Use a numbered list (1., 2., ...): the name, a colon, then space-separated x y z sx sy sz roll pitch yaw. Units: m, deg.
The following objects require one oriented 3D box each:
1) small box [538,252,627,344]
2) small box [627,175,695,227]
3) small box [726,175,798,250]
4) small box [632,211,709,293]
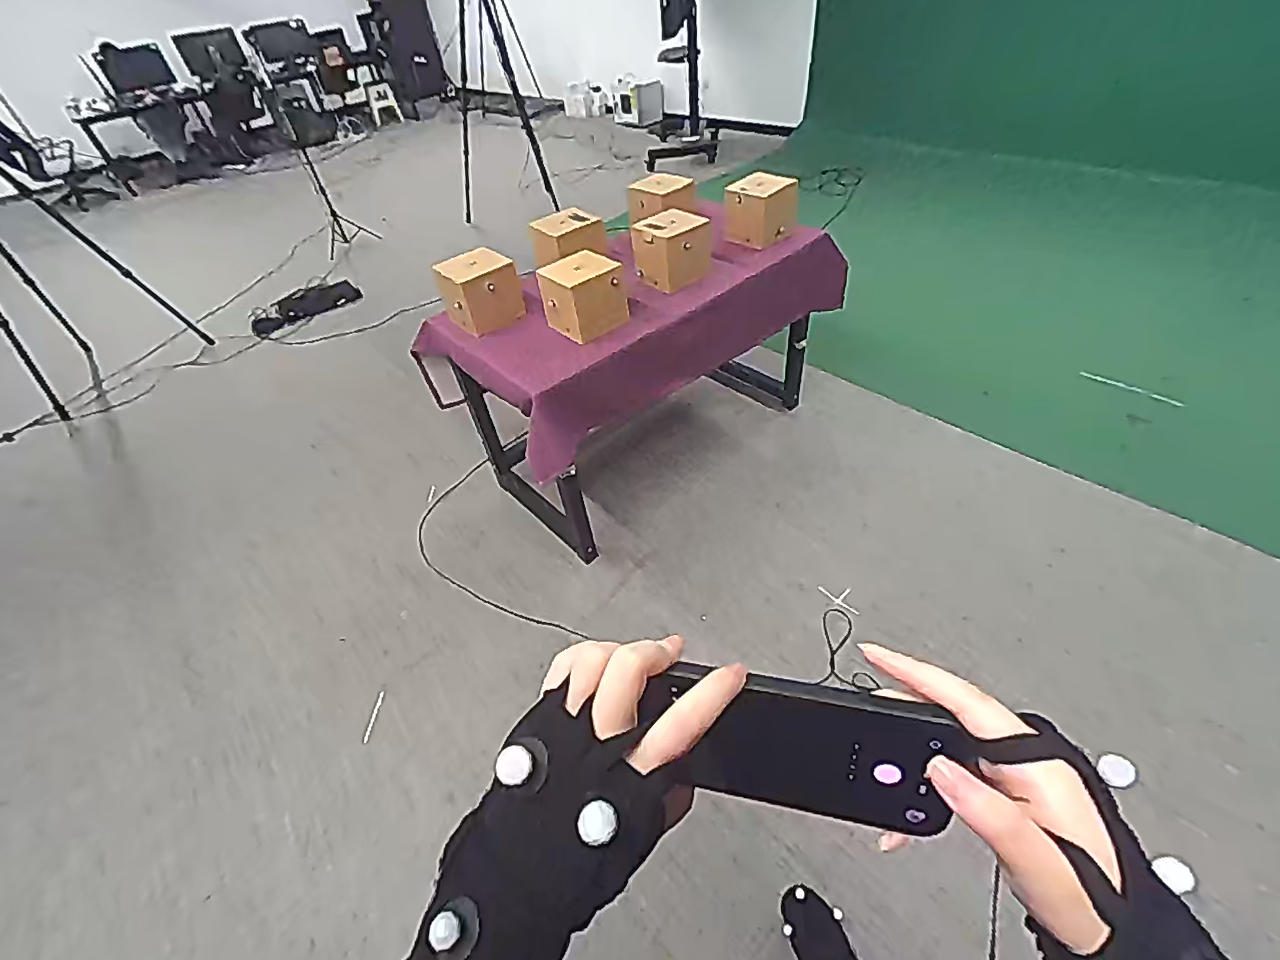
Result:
1. small box: -0.152 -0.500 1.491 0.179 0.176 0.168 -34 50 -25
2. small box: 0.077 -0.952 1.906 0.168 0.176 0.179 -38 52 -26
3. small box: 0.400 -0.891 1.799 0.179 0.176 0.168 -36 51 -26
4. small box: 0.098 -0.694 1.648 0.179 0.176 0.168 -32 50 -24
